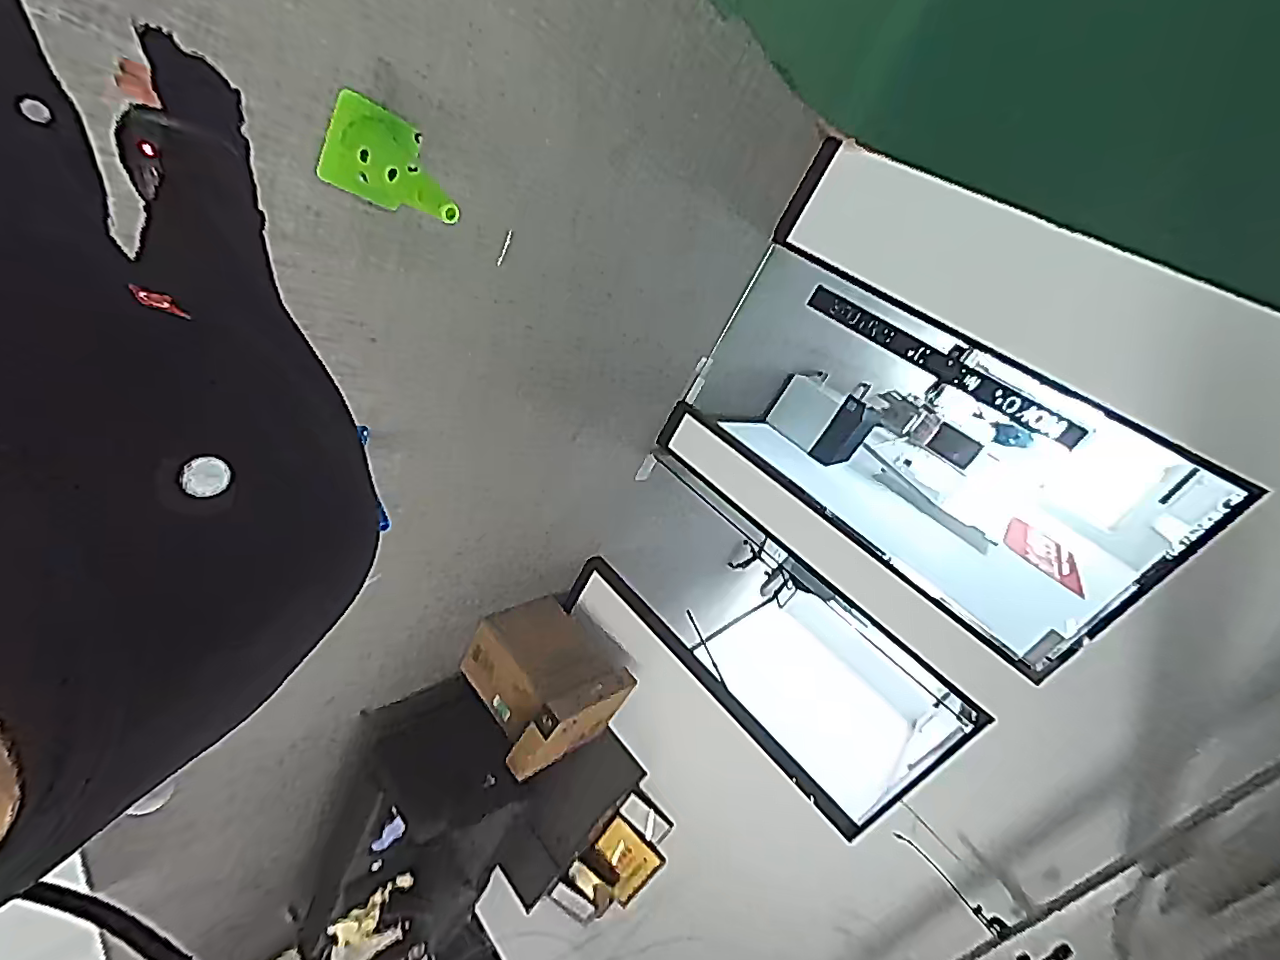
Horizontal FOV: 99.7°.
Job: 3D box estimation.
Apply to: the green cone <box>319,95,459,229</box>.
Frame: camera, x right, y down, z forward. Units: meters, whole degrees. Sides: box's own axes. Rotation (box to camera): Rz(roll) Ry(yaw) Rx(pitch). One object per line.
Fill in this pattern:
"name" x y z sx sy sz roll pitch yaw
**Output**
"green cone" -0.511 -0.650 1.188 0.200 0.368 0.202 -2 129 -56
